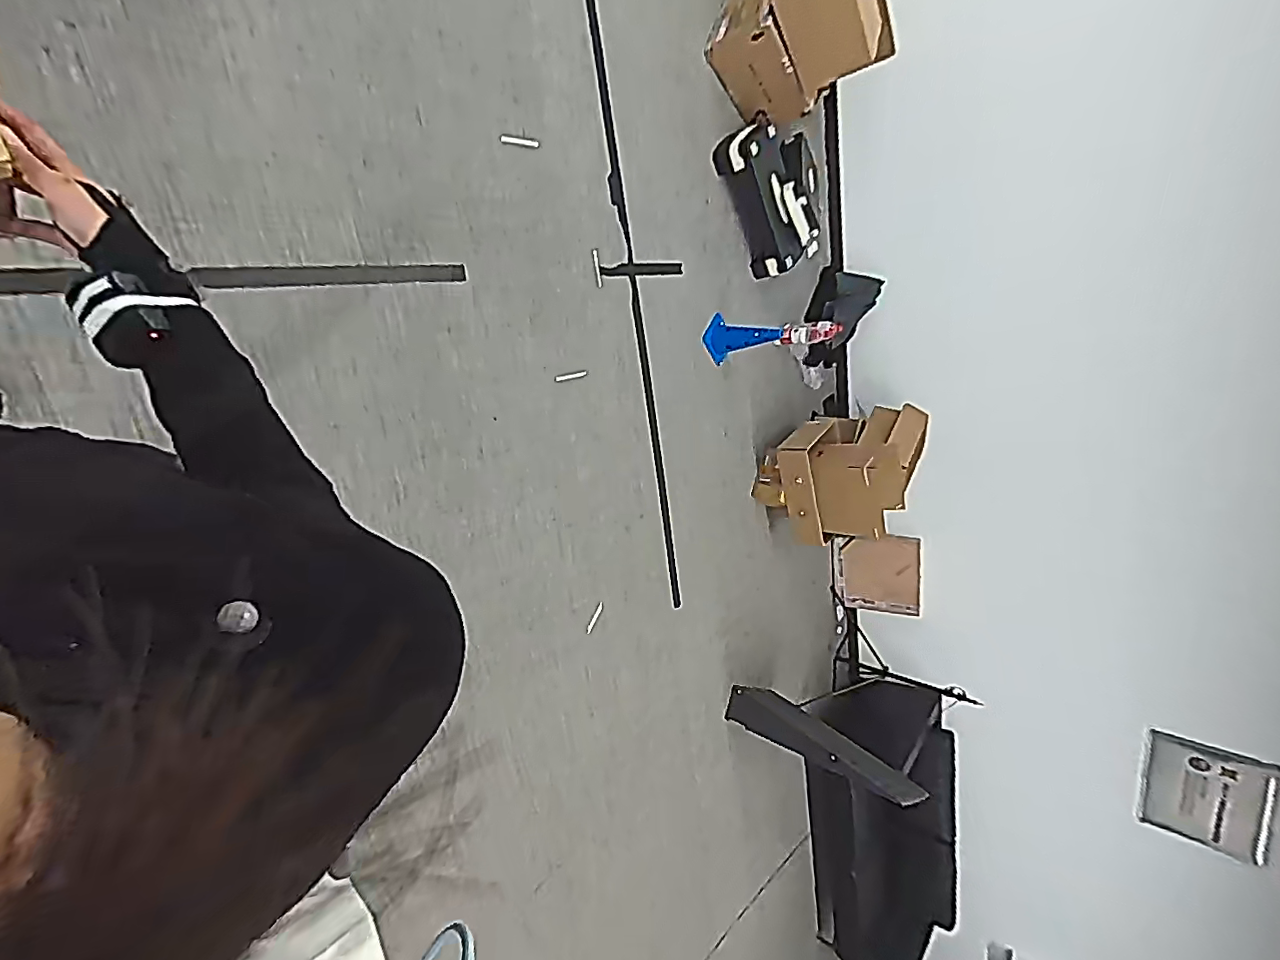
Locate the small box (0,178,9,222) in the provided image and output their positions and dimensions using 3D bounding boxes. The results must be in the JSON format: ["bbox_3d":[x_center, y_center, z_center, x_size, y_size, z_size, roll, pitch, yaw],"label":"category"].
[{"bbox_3d":[-0.599,-0.282,0.373,0.179,0.176,0.168,-28,109,-46],"label":"small box"}]
